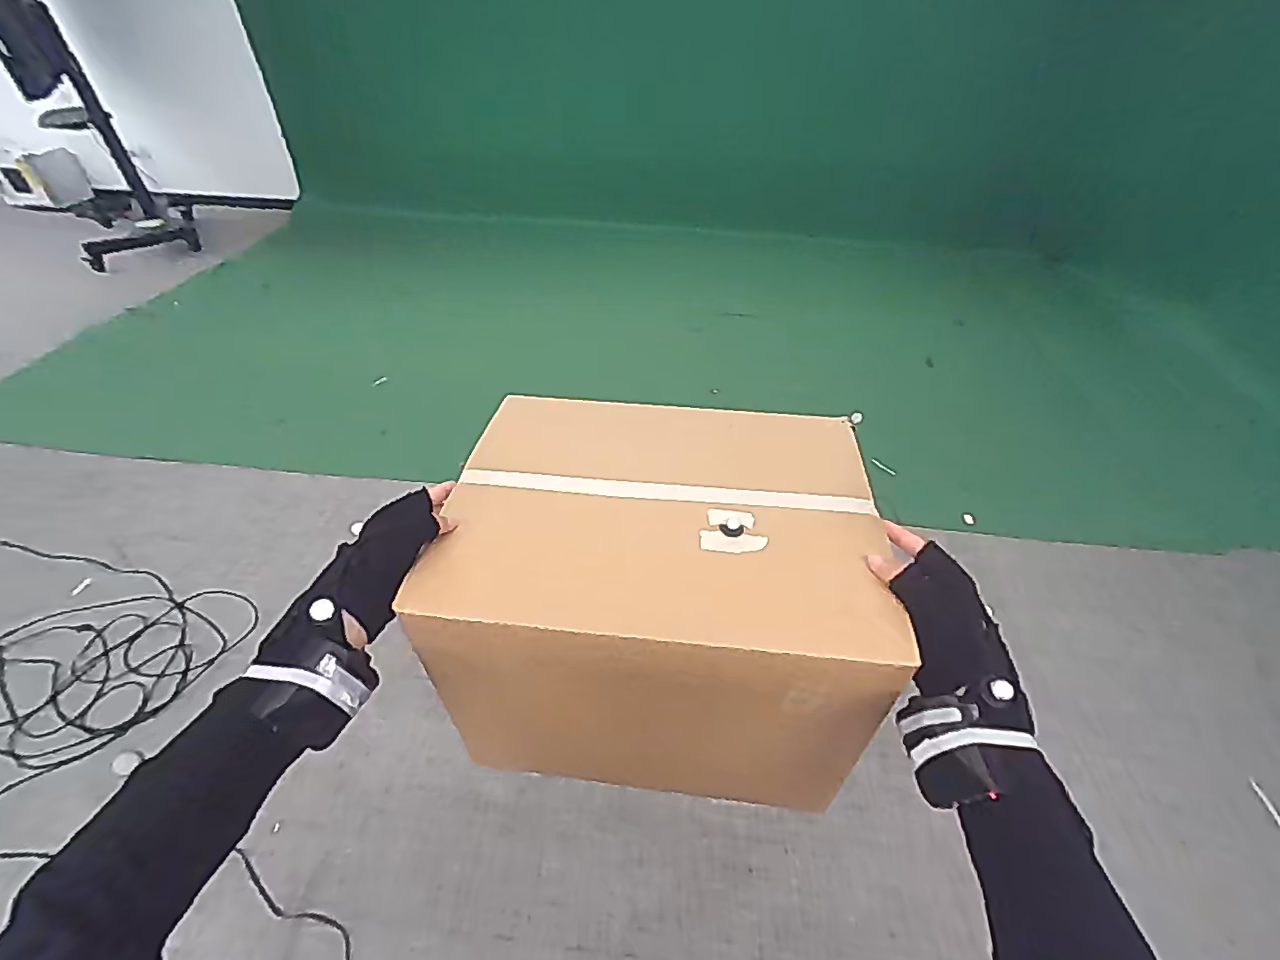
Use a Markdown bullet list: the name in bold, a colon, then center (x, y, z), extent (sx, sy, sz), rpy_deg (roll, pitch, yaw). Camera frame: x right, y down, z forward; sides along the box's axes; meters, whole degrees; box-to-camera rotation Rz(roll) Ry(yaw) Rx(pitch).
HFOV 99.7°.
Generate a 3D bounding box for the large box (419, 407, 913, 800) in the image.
- **large box**: center (0.025, 0.136, 0.634), extent (0.408, 0.320, 0.320), rpy_deg (5, 42, 4)
